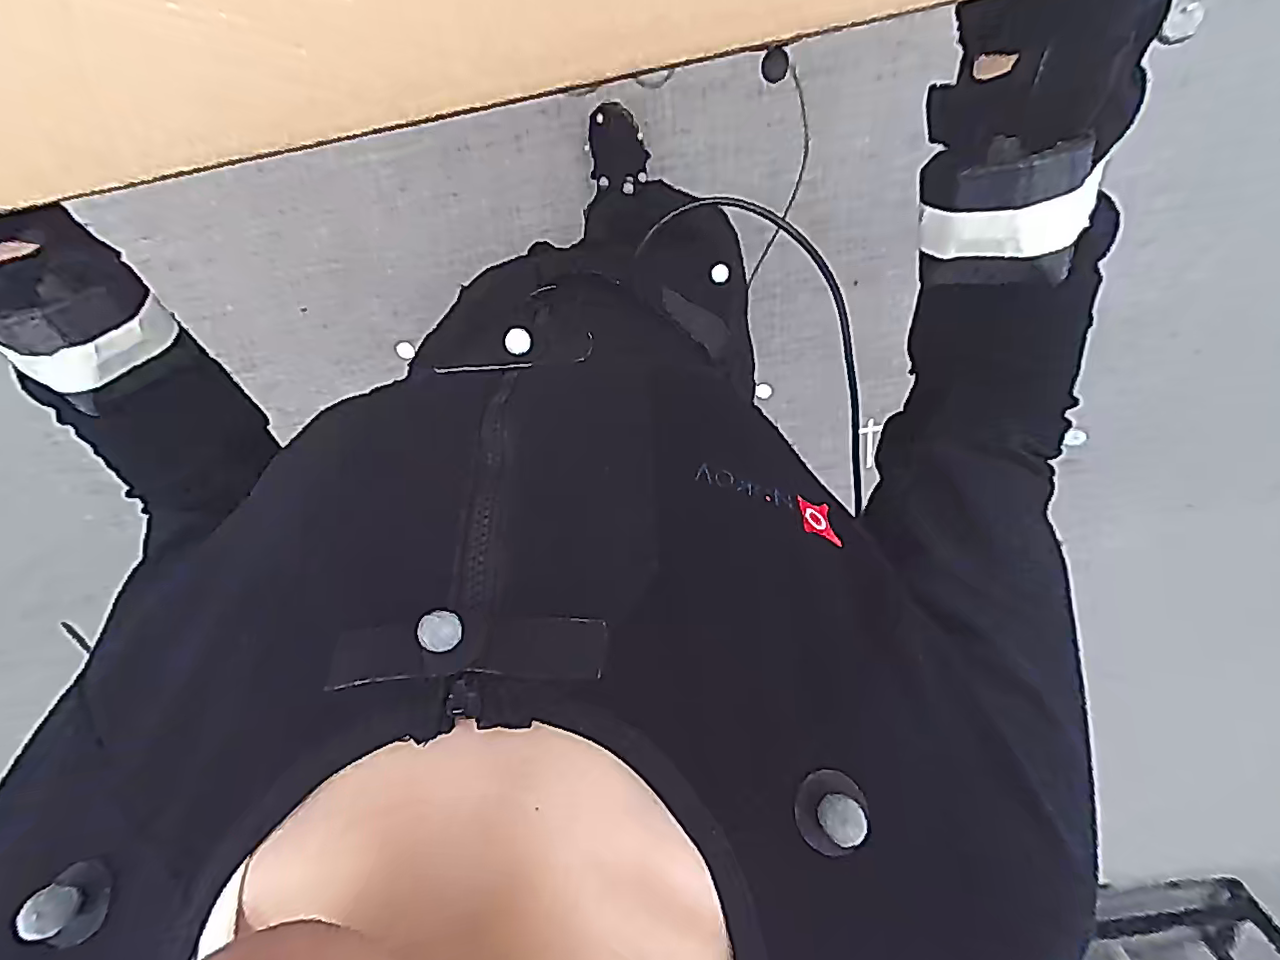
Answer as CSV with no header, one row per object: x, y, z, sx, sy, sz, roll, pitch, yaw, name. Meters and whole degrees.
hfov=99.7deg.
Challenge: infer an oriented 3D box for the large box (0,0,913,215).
-0.103,-0.352,0.221,0.408,0.320,0.320,-9,129,5,large box
